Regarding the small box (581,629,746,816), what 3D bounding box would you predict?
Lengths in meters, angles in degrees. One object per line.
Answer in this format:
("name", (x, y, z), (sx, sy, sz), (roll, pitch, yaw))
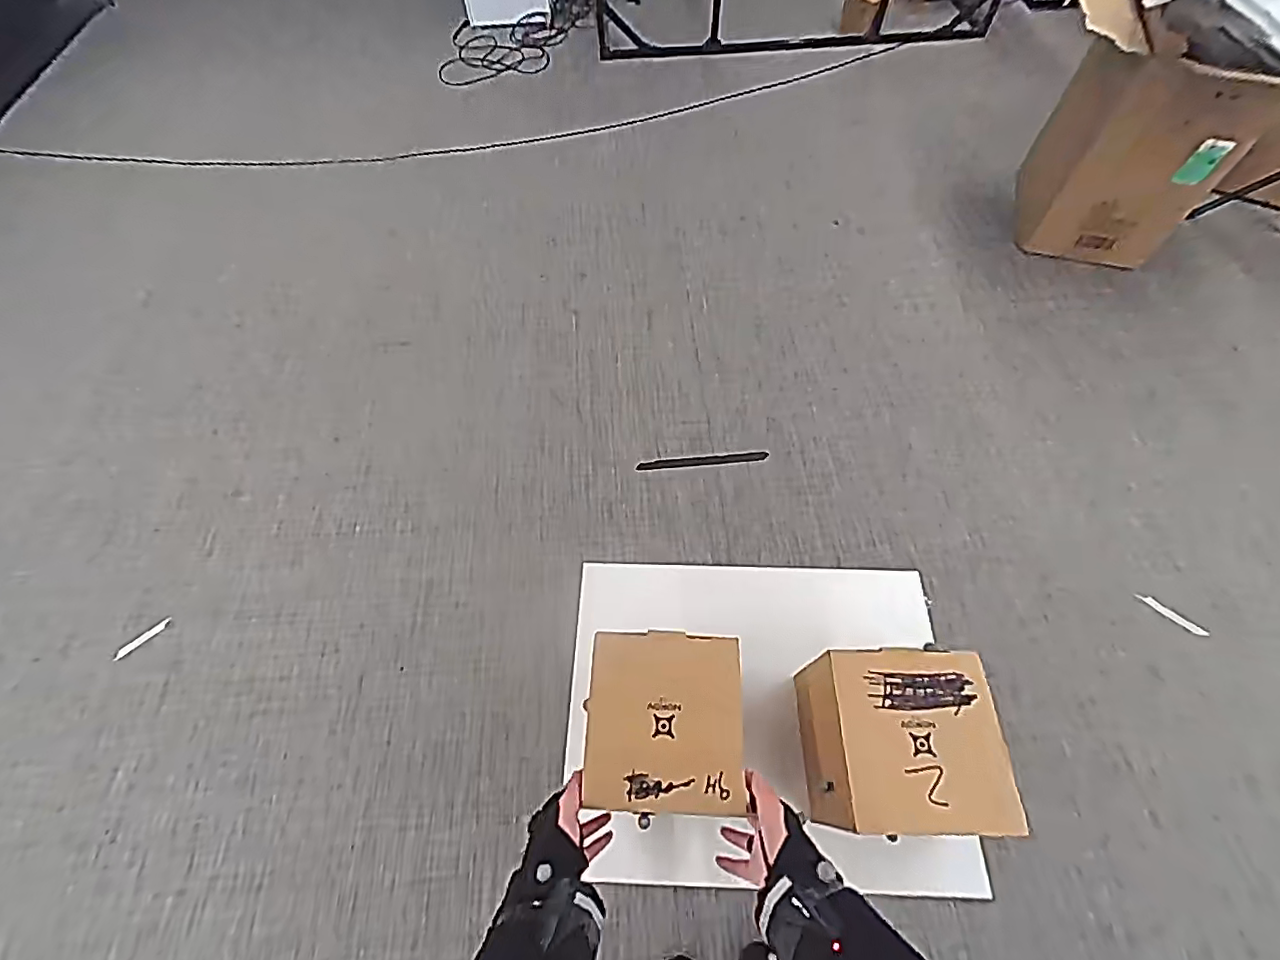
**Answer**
("small box", (0.029, 0.289, 0.638), (0.168, 0.176, 0.179), (2, 60, 3))
